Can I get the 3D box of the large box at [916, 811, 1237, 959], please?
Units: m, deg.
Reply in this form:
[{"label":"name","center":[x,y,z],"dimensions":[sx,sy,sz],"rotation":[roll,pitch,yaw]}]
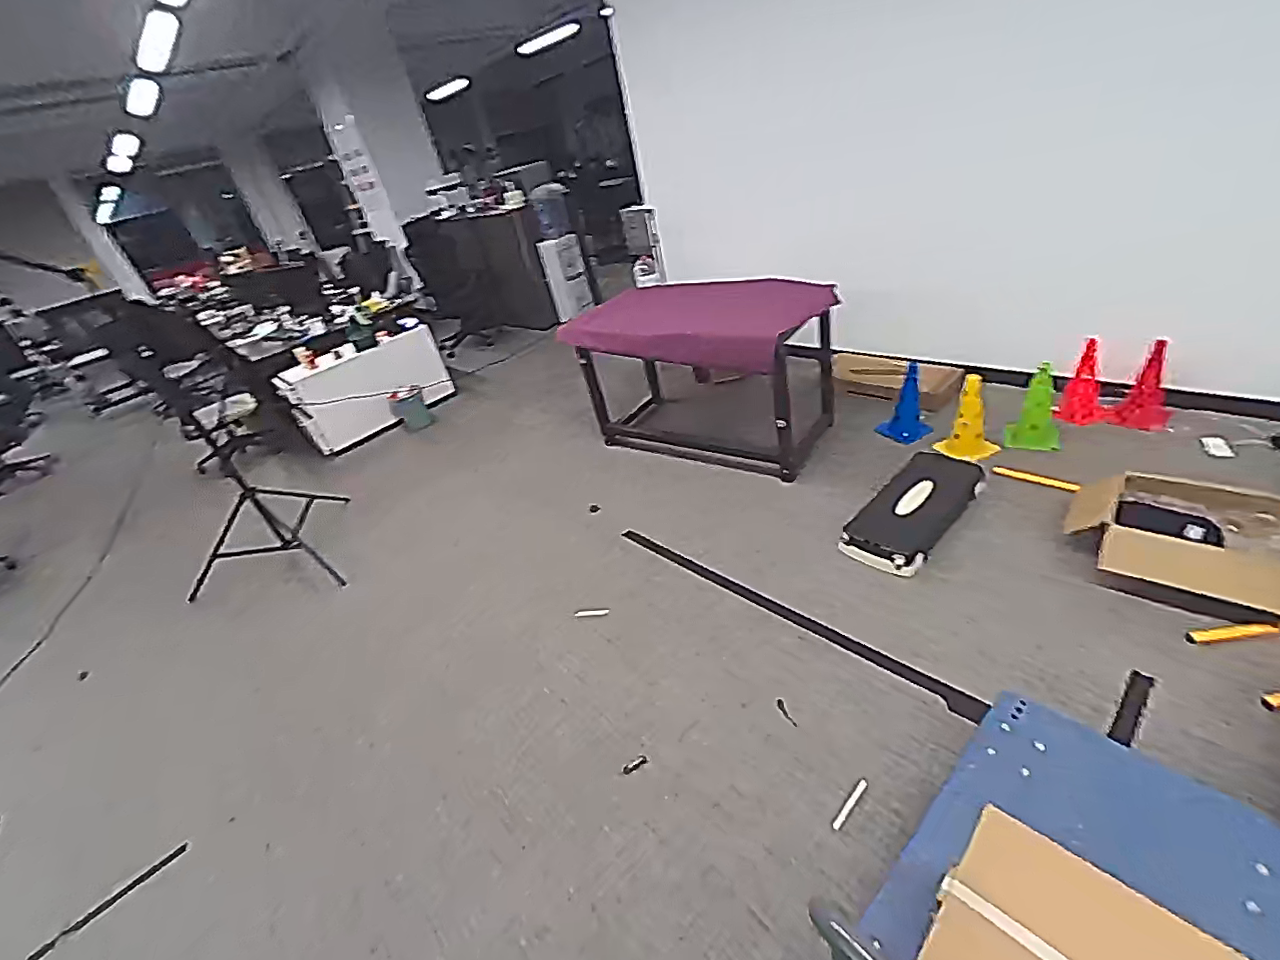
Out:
[{"label":"large box","center":[0.641,0.807,0.791],"dimensions":[0.408,0.320,0.320],"rotation":[22,48,41]}]
